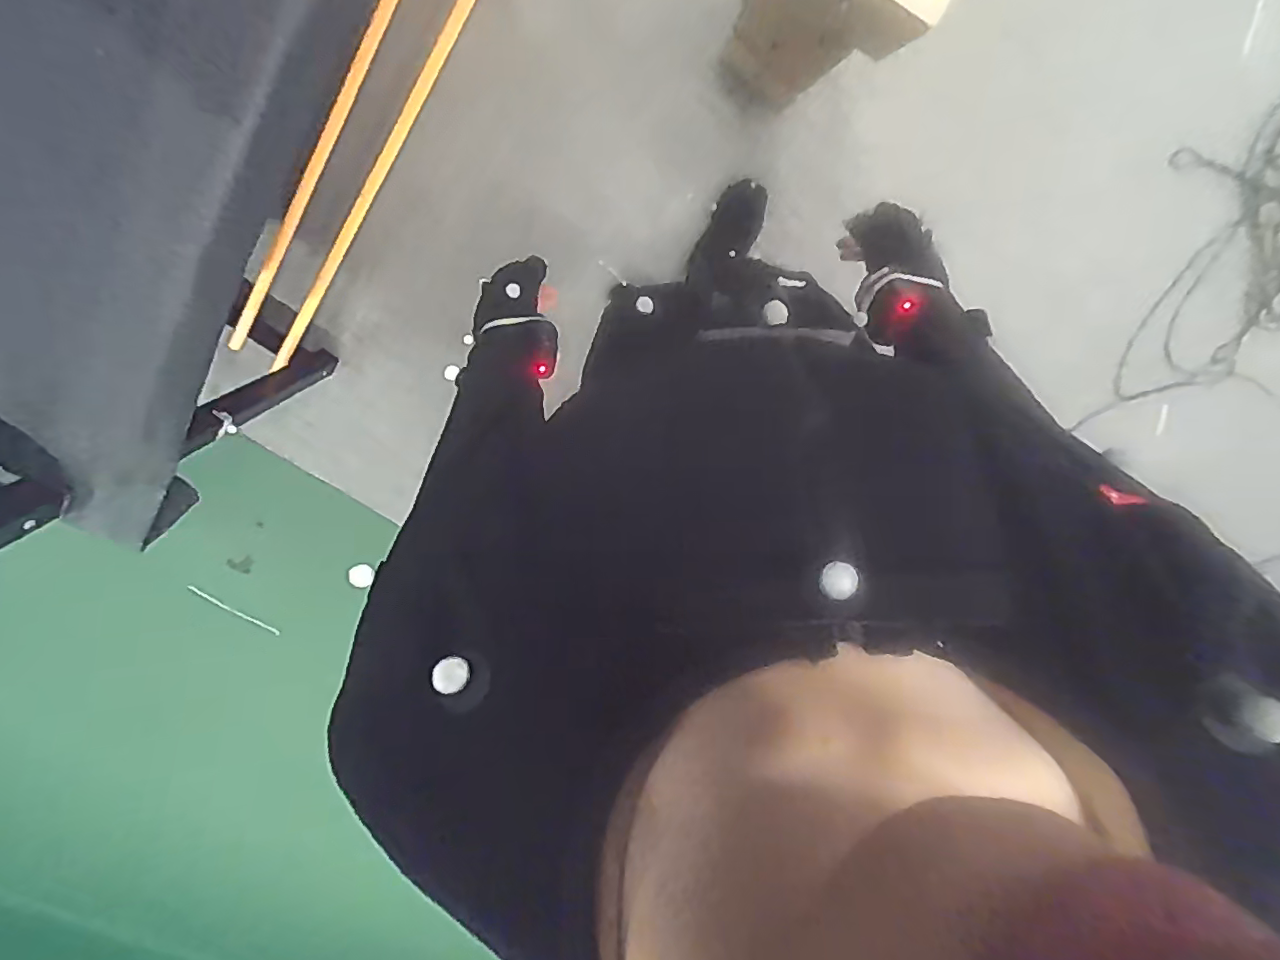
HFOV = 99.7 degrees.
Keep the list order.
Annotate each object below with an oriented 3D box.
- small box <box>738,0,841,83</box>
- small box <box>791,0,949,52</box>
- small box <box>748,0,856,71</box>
[{"bbox_3d":[0.284,-0.794,0.887,0.179,0.176,0.168,34,113,-14],"label":"small box"},{"bbox_3d":[0.278,-0.626,0.607,0.179,0.176,0.168,23,116,-11],"label":"small box"},{"bbox_3d":[0.267,-0.713,0.746,0.179,0.176,0.168,36,113,-16],"label":"small box"}]
